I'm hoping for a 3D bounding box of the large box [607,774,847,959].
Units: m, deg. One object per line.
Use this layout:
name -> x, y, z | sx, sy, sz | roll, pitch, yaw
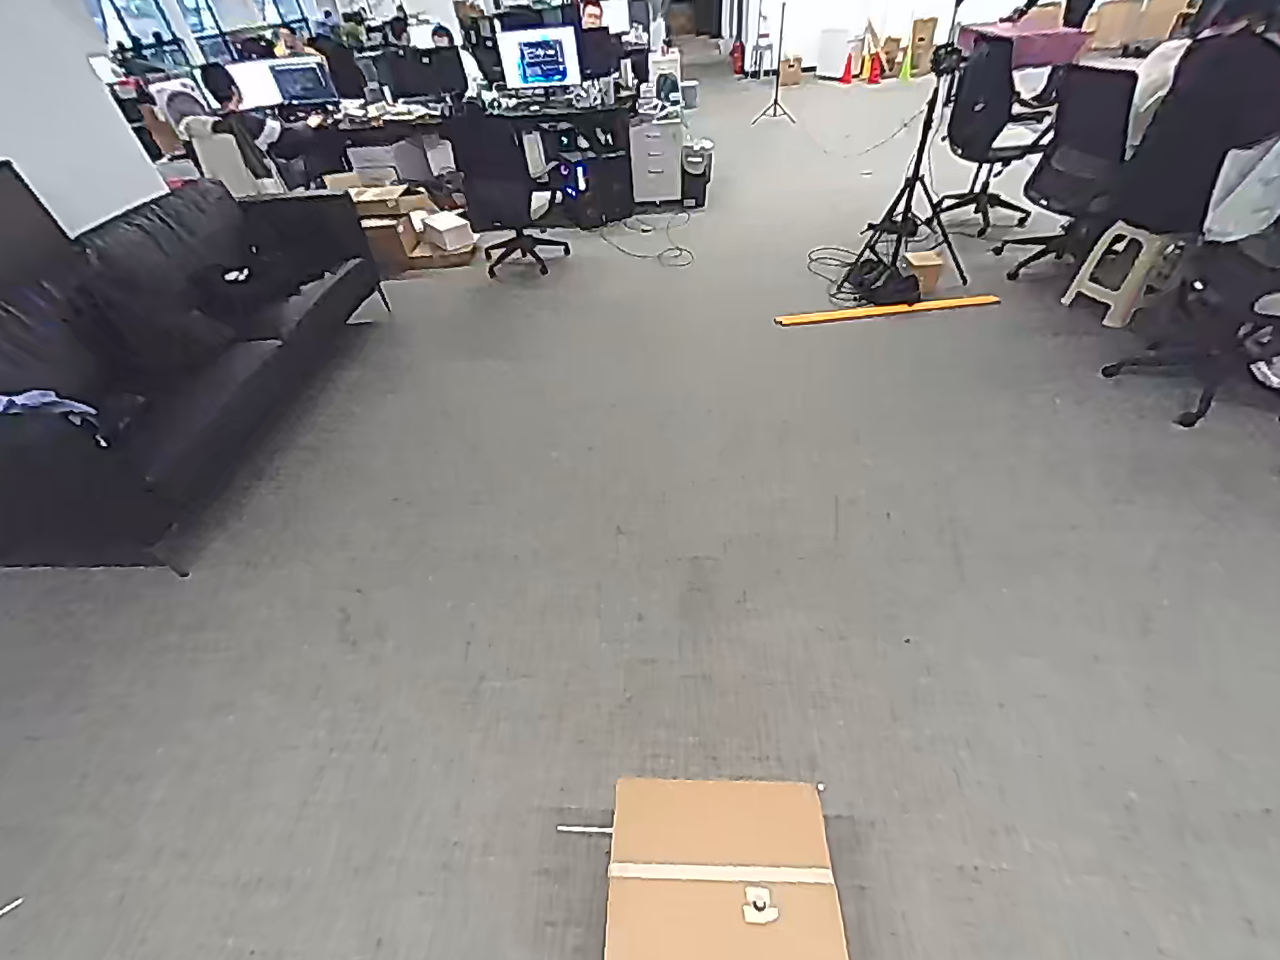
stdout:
large box -> 0.155, 0.814, 1.089 | 0.408, 0.320, 0.320 | -1, 44, 5
